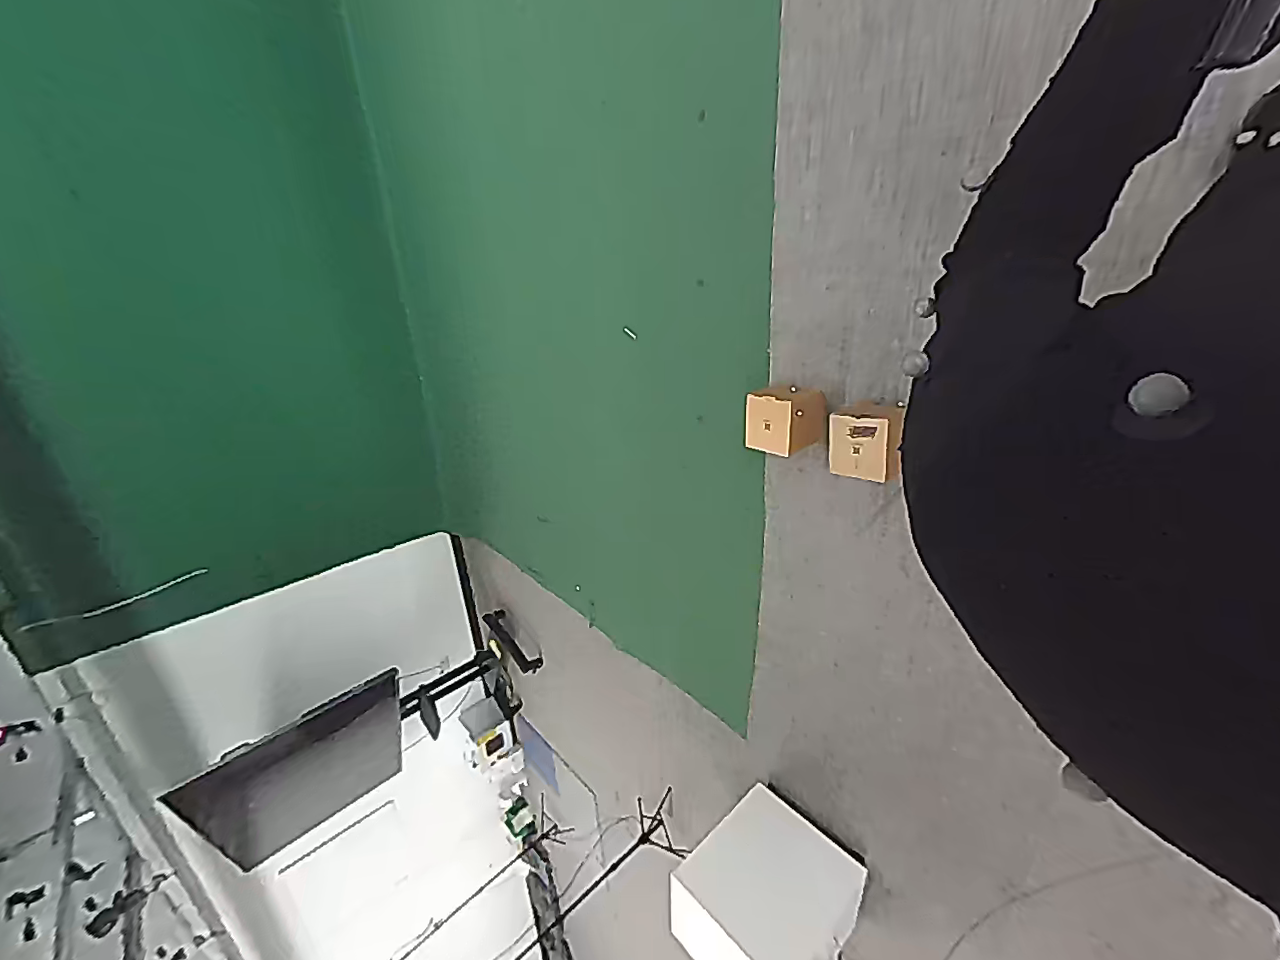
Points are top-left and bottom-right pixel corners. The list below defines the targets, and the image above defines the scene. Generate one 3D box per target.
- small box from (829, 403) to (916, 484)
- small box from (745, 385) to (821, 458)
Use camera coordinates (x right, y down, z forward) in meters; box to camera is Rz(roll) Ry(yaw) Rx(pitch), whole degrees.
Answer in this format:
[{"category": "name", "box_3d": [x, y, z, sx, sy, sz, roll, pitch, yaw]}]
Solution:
[{"category": "small box", "box_3d": [0.643, -0.109, 1.492, 0.168, 0.176, 0.179, 16, 119, 47]}, {"category": "small box", "box_3d": [0.450, -0.189, 1.696, 0.168, 0.176, 0.179, 20, 121, 44]}]
